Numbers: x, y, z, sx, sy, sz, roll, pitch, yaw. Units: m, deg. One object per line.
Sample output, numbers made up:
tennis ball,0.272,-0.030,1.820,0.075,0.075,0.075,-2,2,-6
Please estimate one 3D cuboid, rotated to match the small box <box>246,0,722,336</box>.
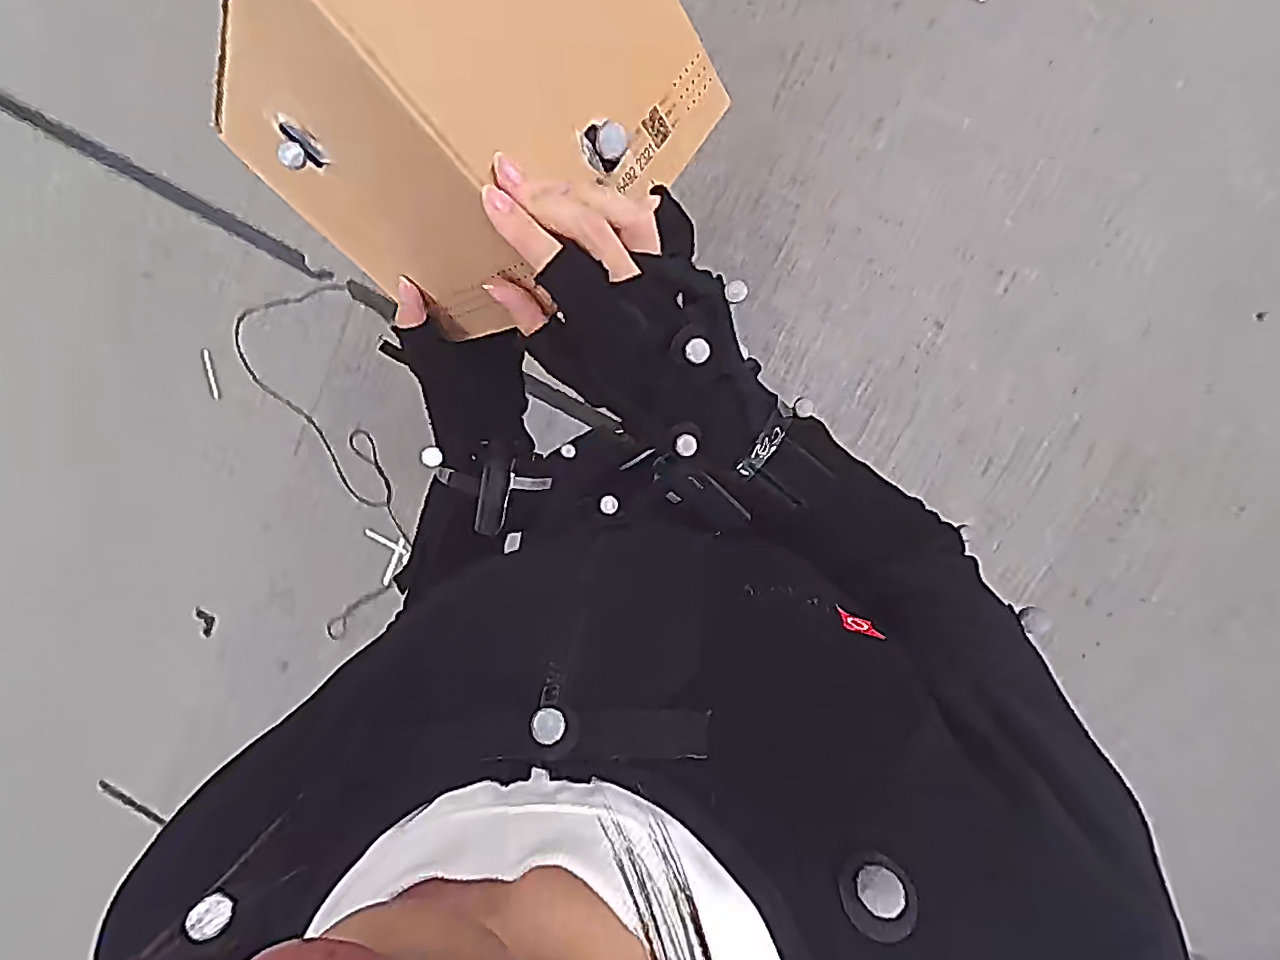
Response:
small box,-0.088,-0.204,0.317,0.176,0.179,0.168,42,70,-34
